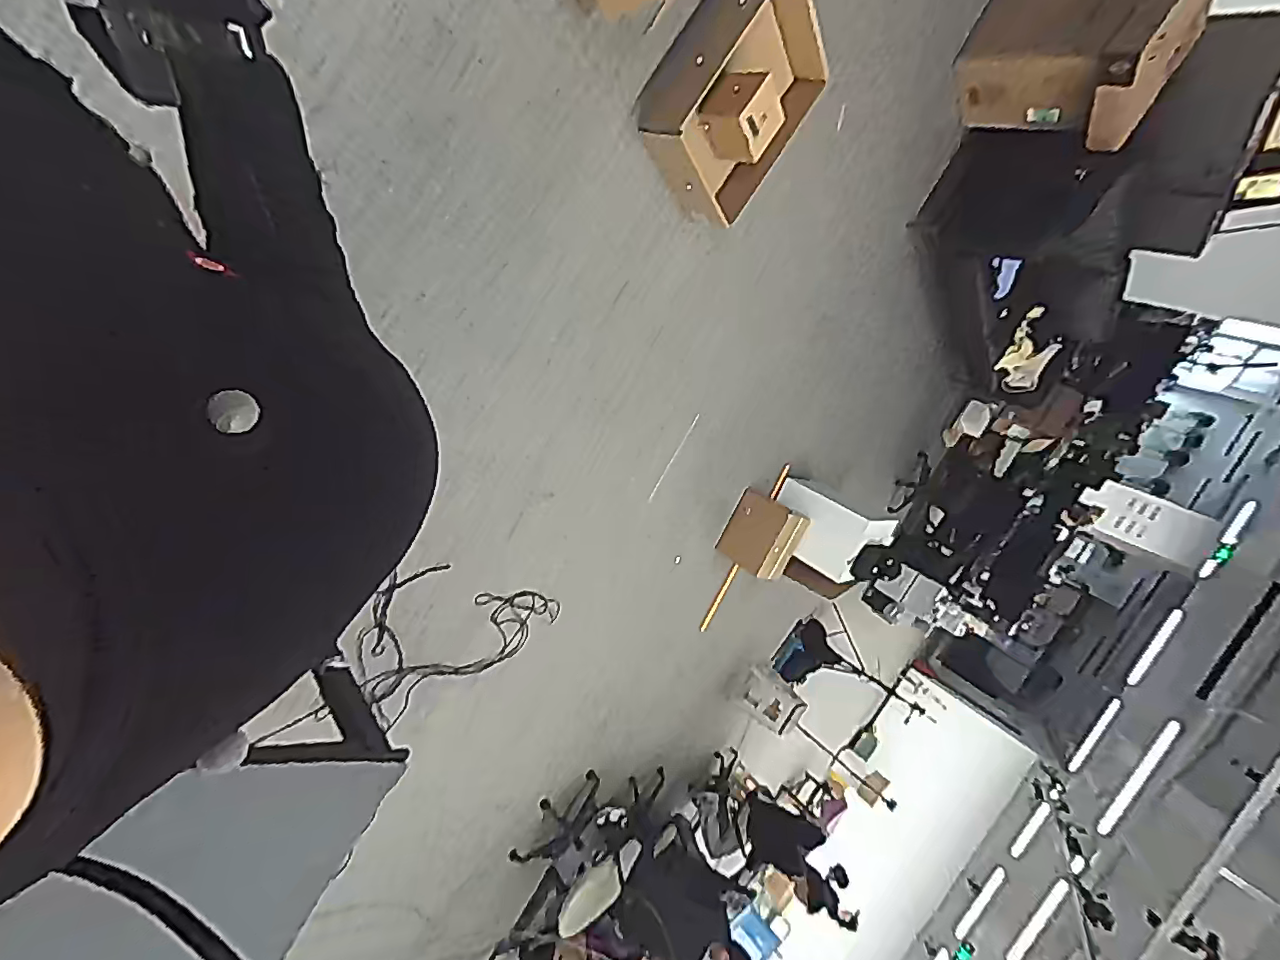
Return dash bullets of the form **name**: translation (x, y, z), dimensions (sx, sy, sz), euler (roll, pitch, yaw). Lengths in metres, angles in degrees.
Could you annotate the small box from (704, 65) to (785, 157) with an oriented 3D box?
- **small box**: translation (0.320, -1.153, 1.694), dimensions (0.179, 0.176, 0.168), euler (-56, 144, -3)
